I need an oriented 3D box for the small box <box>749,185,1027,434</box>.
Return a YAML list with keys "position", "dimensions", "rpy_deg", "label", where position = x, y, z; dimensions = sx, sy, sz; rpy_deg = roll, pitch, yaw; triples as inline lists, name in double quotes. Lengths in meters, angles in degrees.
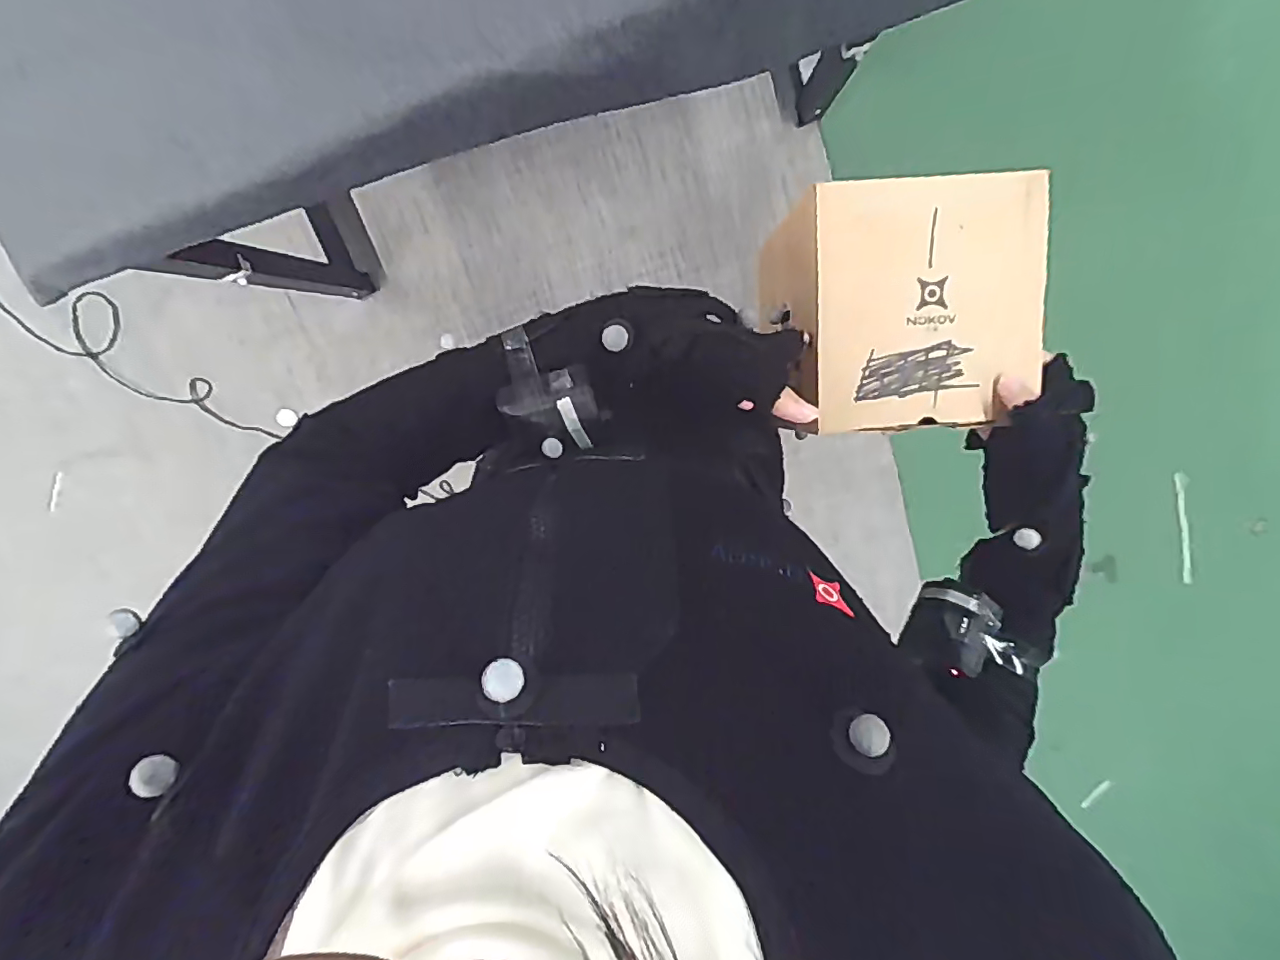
- position: [0.196, -0.135, 0.477]
  dimensions: [0.168, 0.176, 0.179]
  rpy_deg: [-2, 97, -2]
  label: "small box"
